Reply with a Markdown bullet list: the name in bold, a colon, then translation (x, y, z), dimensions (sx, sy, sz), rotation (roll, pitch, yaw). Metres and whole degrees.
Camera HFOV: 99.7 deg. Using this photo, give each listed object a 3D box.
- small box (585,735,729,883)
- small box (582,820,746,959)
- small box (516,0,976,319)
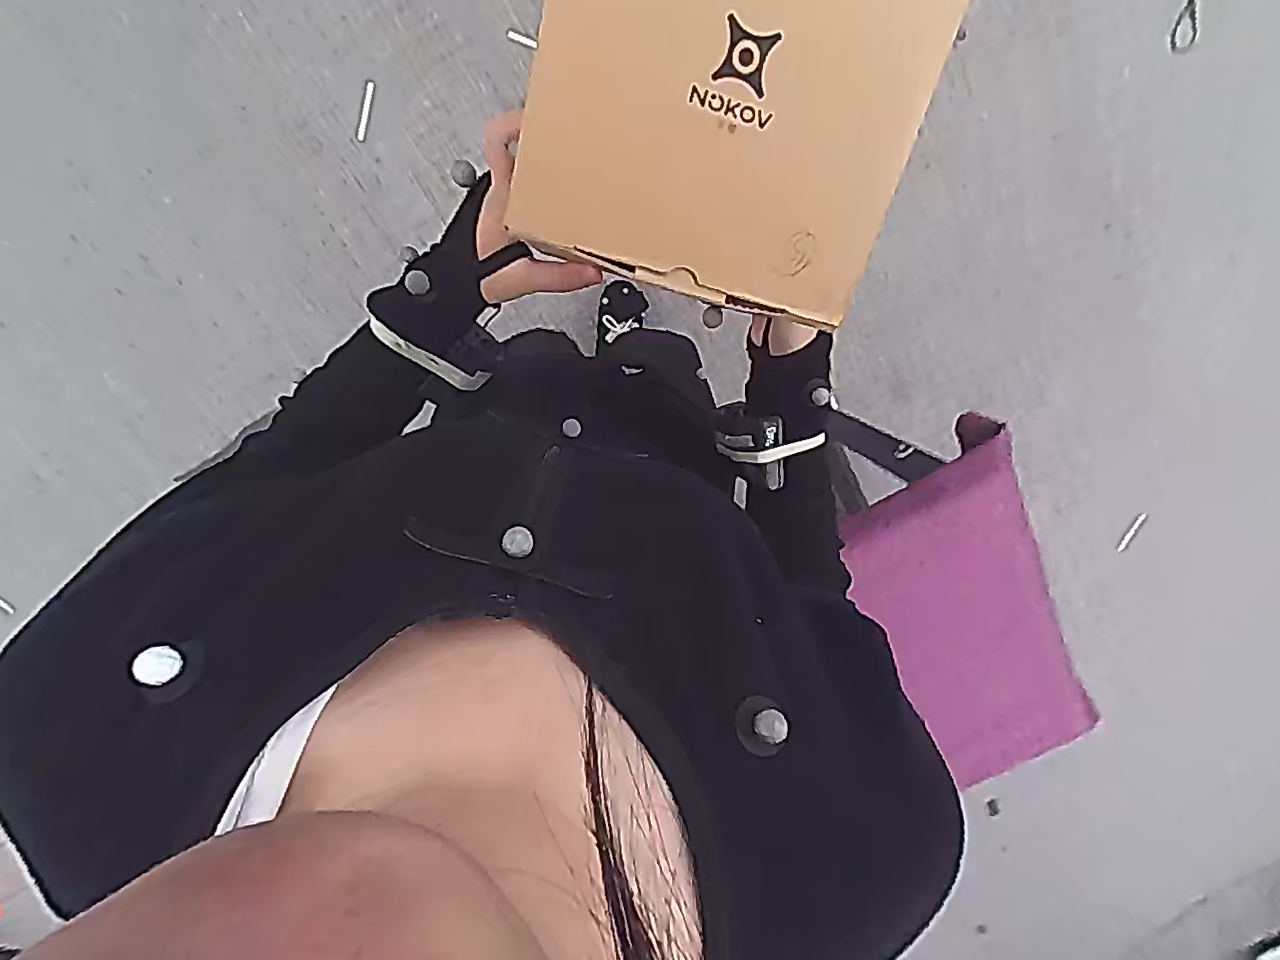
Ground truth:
- **small box**: translation (0.019, 0.542, 0.866), dimensions (0.168, 0.176, 0.179), rotation (-26, 110, 4)
- **small box**: translation (0.035, 0.601, 0.714), dimensions (0.168, 0.176, 0.179), rotation (-27, 109, 3)
- **small box**: translation (0.039, -0.199, 0.293), dimensions (0.168, 0.176, 0.179), rotation (12, 108, -10)
